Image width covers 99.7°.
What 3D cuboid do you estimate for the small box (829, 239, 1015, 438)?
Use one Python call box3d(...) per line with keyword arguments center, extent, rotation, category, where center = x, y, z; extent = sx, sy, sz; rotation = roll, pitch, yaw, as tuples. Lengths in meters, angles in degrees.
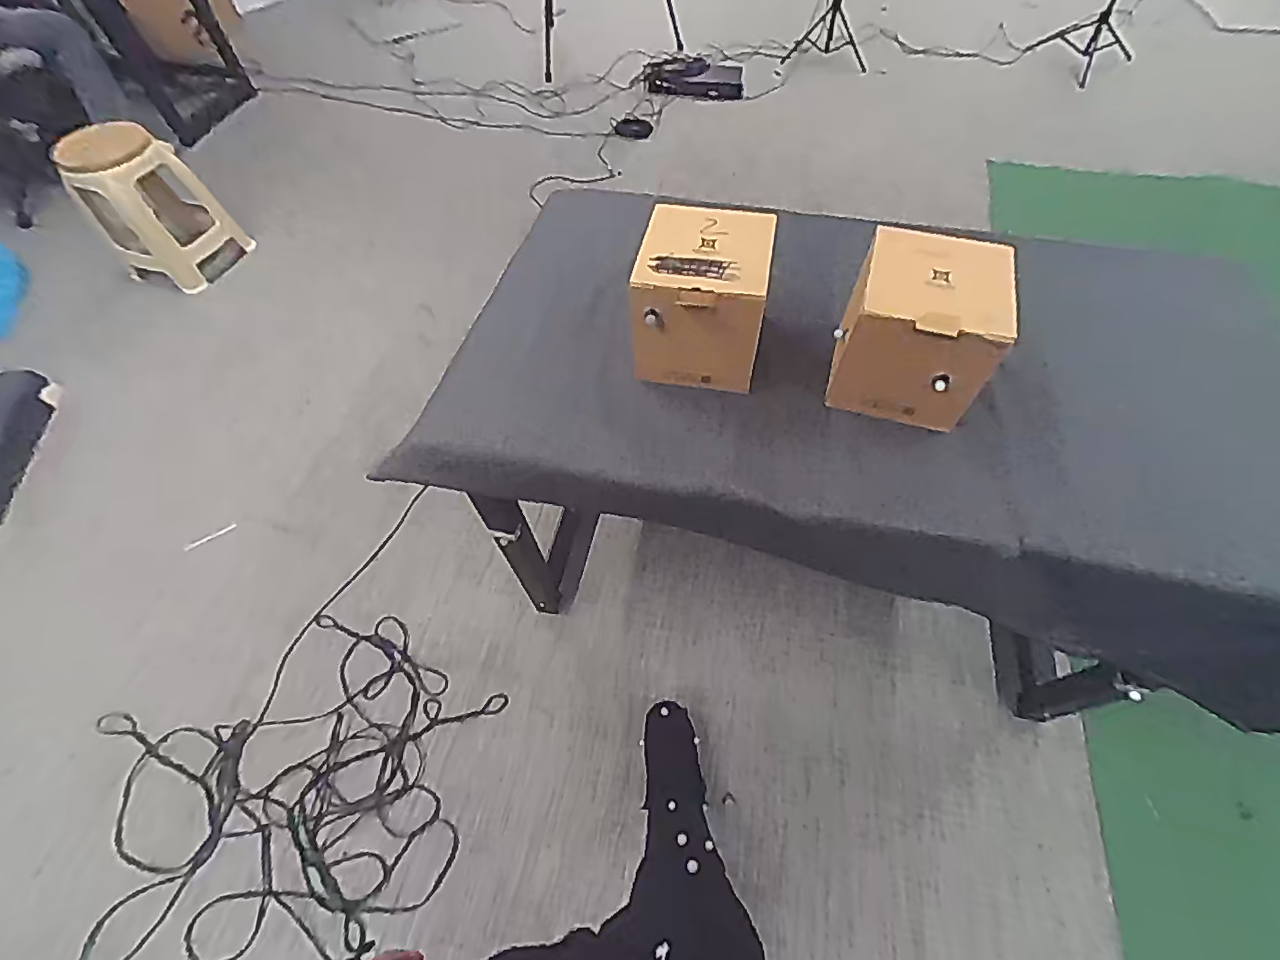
box3d(center=(0.358, -0.180, 0.710), extent=(0.168, 0.176, 0.179), rotation=(15, 57, 11), category="small box")
